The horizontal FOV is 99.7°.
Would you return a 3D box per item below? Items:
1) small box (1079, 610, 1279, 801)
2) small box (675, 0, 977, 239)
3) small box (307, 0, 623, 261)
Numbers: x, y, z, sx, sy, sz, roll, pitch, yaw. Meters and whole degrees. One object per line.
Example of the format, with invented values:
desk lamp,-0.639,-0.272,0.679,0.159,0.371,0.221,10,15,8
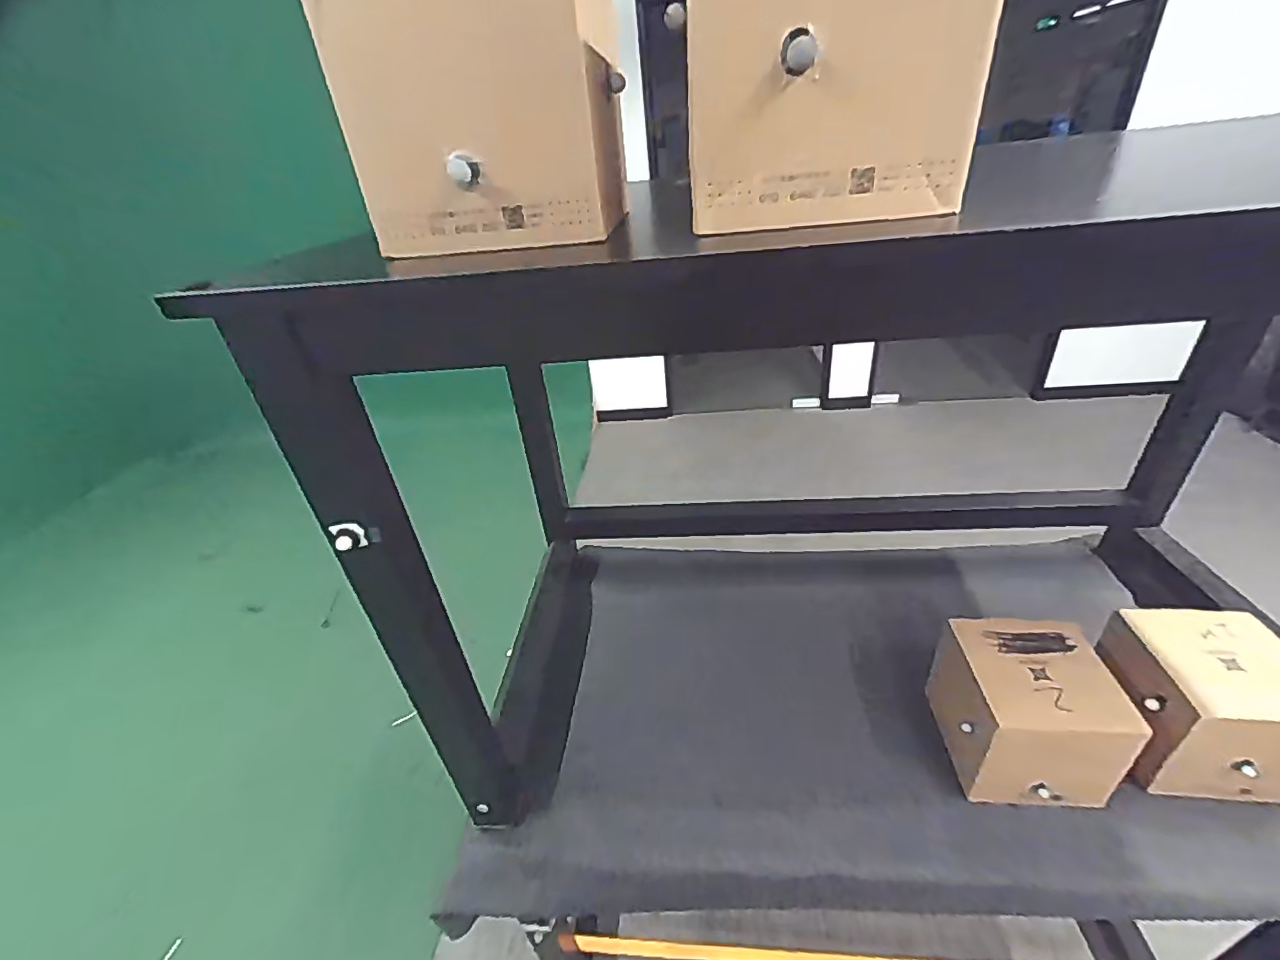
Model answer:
small box,0.746,0.298,0.726,0.168,0.176,0.179,0,32,10
small box,0.114,-0.272,0.379,0.168,0.176,0.179,-2,32,8
small box,-0.108,-0.274,0.416,0.168,0.176,0.179,-2,33,7
